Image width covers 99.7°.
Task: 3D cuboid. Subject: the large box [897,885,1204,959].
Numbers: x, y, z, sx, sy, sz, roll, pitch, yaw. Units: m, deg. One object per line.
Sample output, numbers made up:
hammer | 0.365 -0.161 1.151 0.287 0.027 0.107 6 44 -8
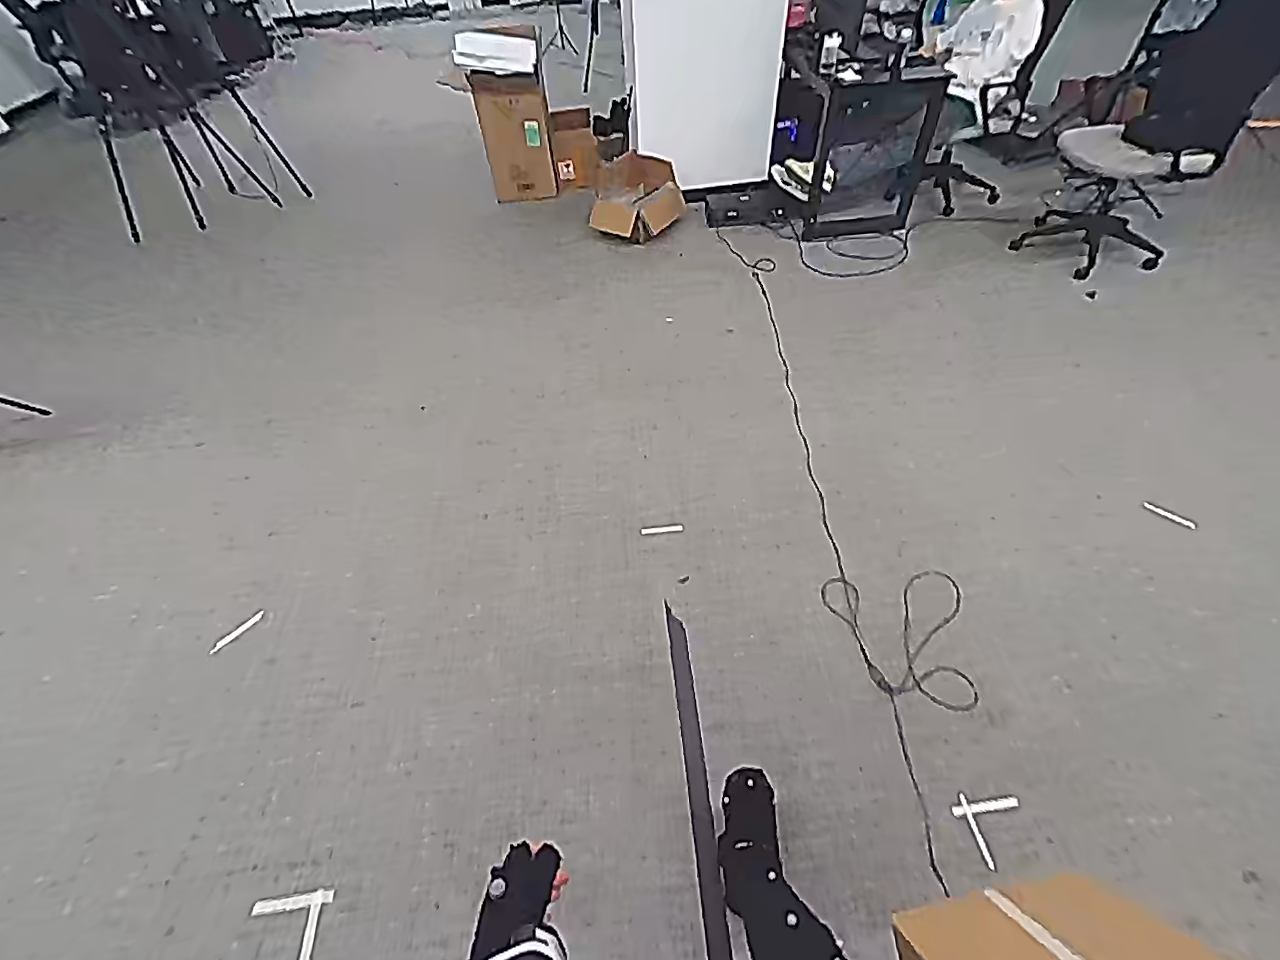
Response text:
large box | 0.557 0.741 0.587 0.320 0.408 0.320 -9 80 -5
